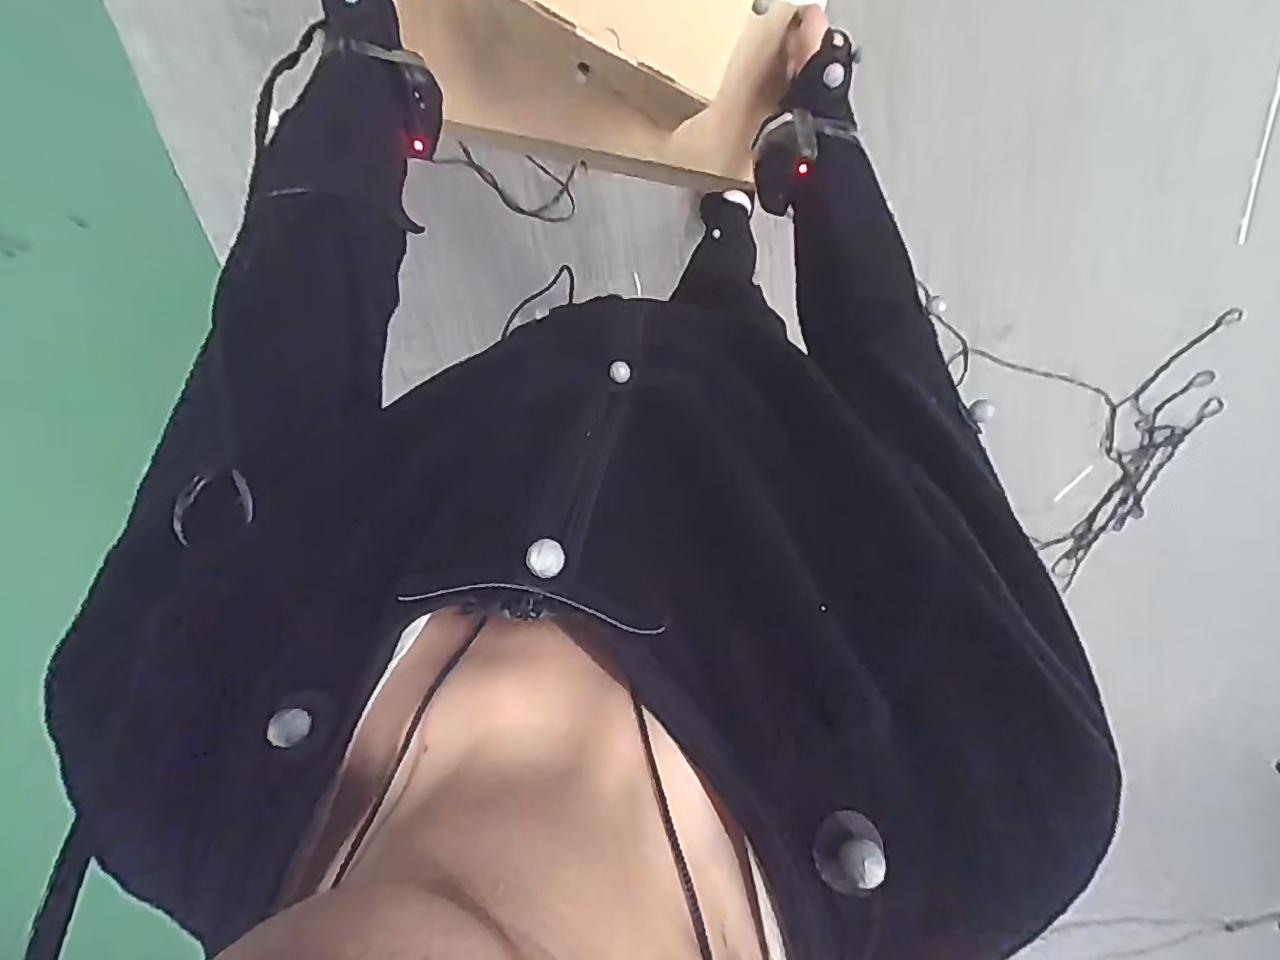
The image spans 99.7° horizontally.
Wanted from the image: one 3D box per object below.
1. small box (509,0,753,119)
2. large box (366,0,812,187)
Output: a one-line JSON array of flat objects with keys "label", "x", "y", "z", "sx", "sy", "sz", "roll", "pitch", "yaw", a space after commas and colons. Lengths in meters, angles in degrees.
[{"label": "small box", "x": 0.001, "y": -0.401, "z": 0.397, "sx": 0.168, "sy": 0.176, "sz": 0.179, "roll": 18, "pitch": 115, "yaw": -16}, {"label": "large box", "x": -0.046, "y": -0.529, "z": 0.602, "sx": 0.408, "sy": 0.320, "sz": 0.320, "roll": 6, "pitch": 115, "yaw": -8}]
